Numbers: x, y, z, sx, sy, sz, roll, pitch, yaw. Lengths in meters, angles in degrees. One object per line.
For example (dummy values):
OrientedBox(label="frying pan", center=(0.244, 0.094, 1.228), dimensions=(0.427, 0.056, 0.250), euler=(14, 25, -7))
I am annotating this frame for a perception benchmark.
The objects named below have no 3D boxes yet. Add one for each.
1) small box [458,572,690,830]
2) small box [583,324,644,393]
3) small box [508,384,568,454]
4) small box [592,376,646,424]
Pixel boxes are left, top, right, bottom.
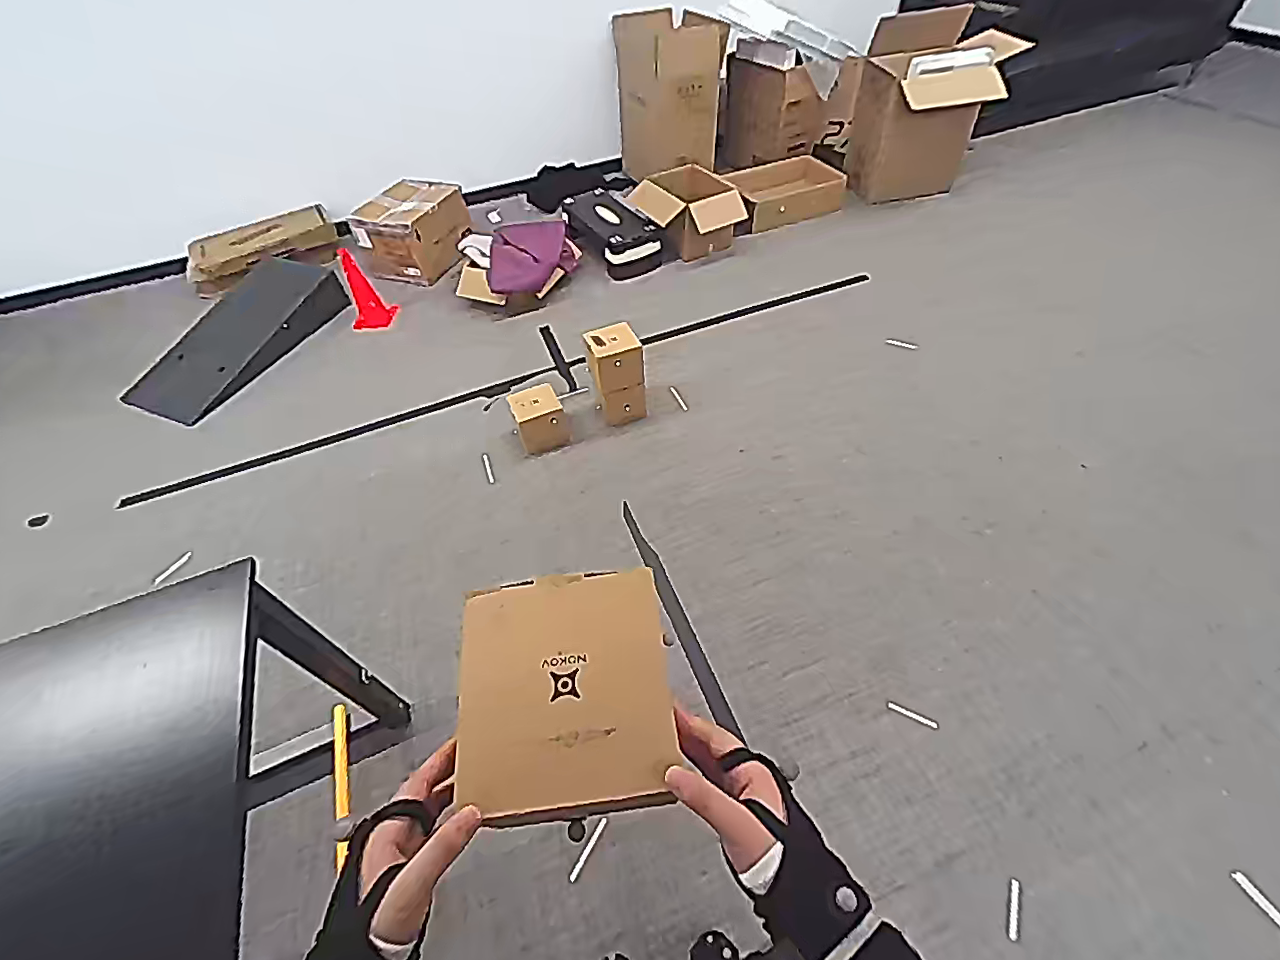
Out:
OrientedBox(label="small box", center=(-0.053, 0.204, 0.490), dimensions=(0.168, 0.176, 0.179), euler=(-7, 57, -3))
OrientedBox(label="small box", center=(-0.096, -0.445, 2.000), dimensions=(0.179, 0.176, 0.168), euler=(-19, 51, -12))
OrientedBox(label="small box", center=(-0.383, -0.229, 2.057), dimensions=(0.179, 0.176, 0.168), euler=(-22, 51, -13))
OrientedBox(label="small box", center=(-0.081, -0.339, 2.127), dimensions=(0.168, 0.176, 0.179), euler=(-18, 52, -10))
